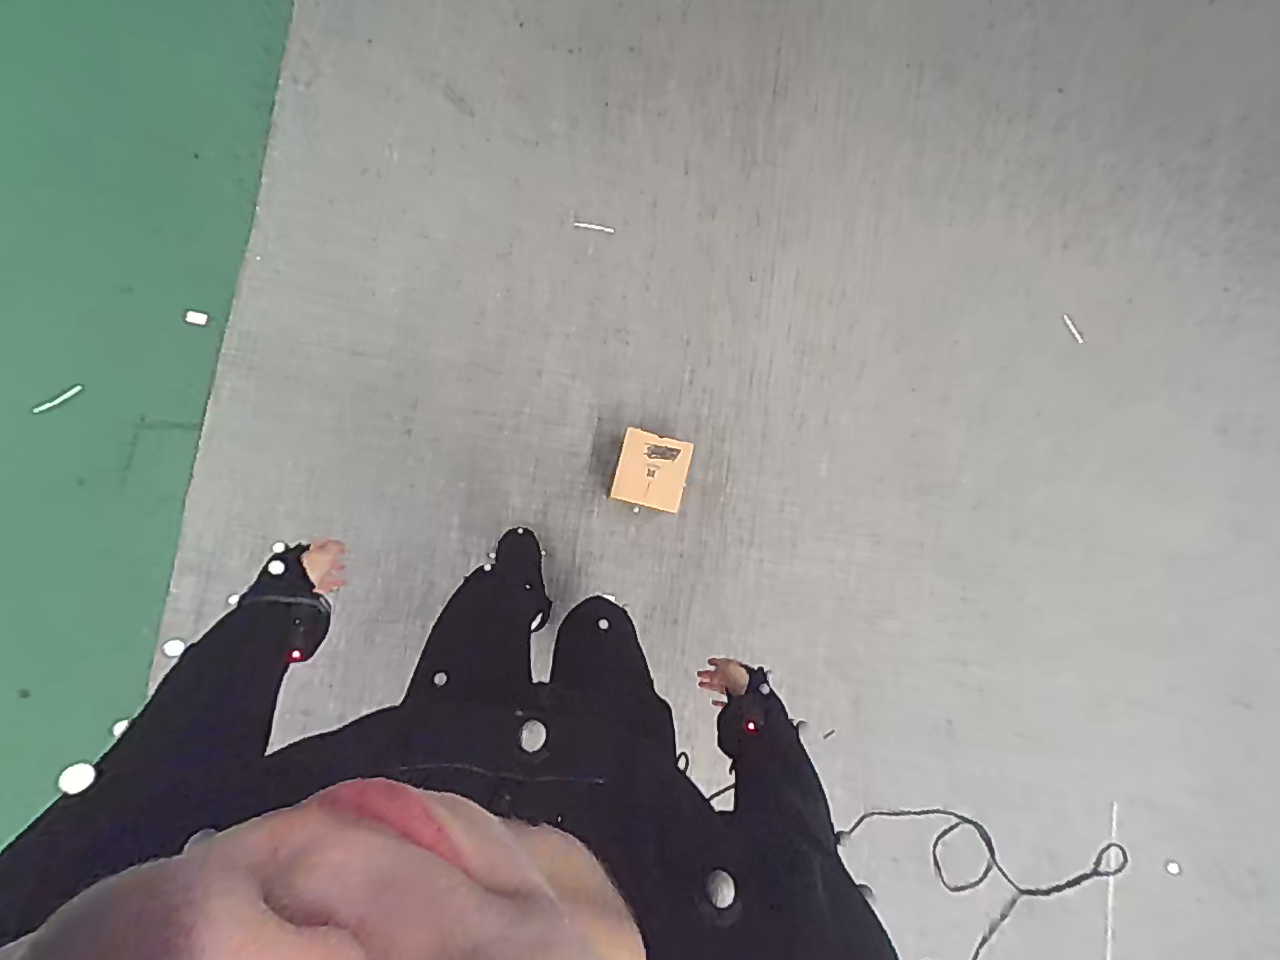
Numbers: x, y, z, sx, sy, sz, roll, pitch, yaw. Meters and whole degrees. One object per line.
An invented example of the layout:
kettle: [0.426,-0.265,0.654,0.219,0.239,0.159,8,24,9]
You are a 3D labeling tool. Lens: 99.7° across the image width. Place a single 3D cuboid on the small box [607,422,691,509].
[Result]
small box: [0.016,-0.030,1.359,0.168,0.176,0.179,15,86,-5]
